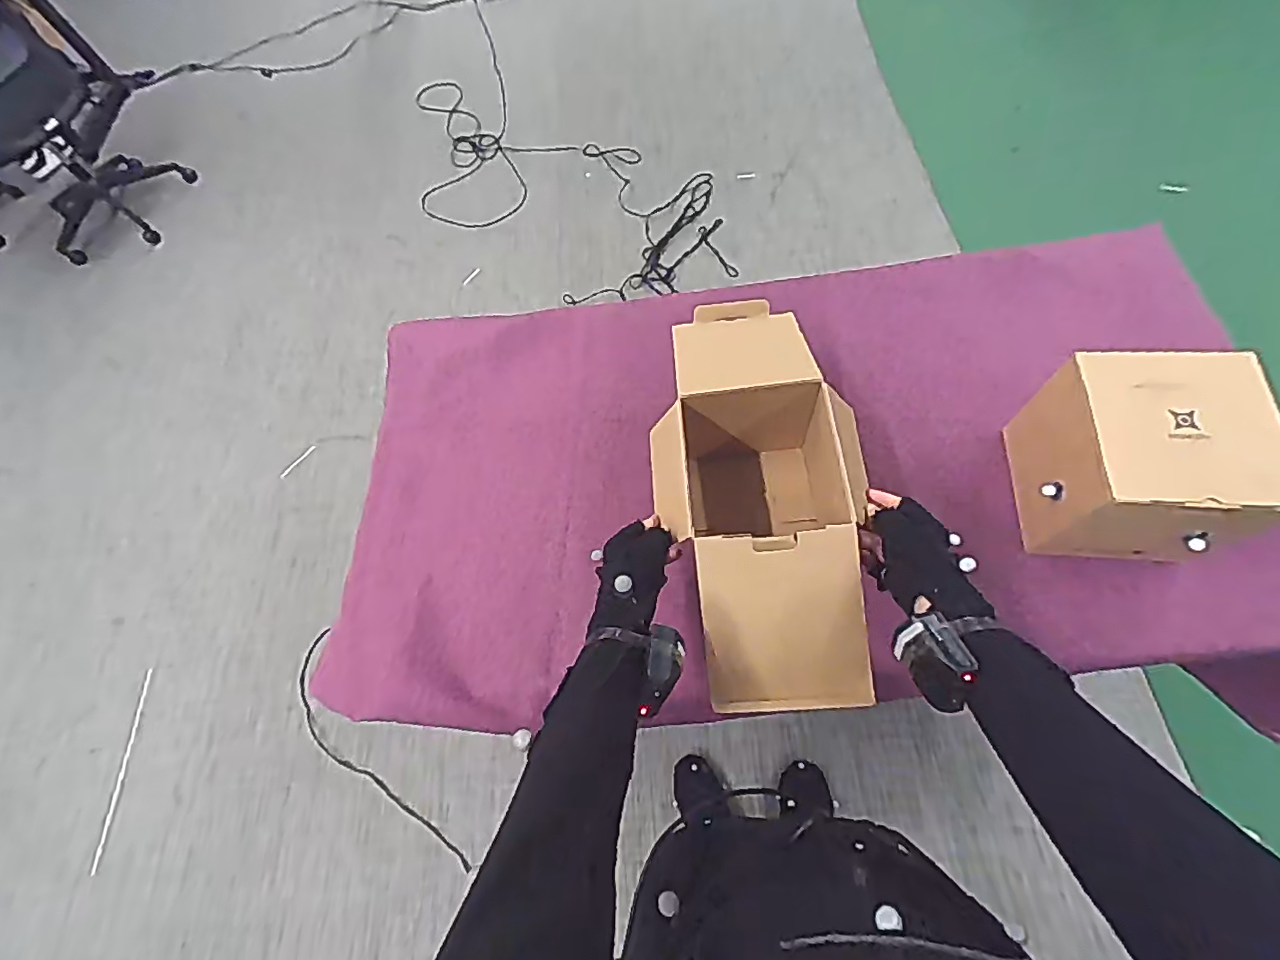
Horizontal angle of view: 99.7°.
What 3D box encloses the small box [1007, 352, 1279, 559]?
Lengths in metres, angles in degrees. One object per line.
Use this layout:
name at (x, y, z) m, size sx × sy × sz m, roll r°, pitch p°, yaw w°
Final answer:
small box at (0.543, -0.020, 0.599) m, size 0.168 × 0.176 × 0.179 m, roll 3°, pitch 66°, yaw 10°
